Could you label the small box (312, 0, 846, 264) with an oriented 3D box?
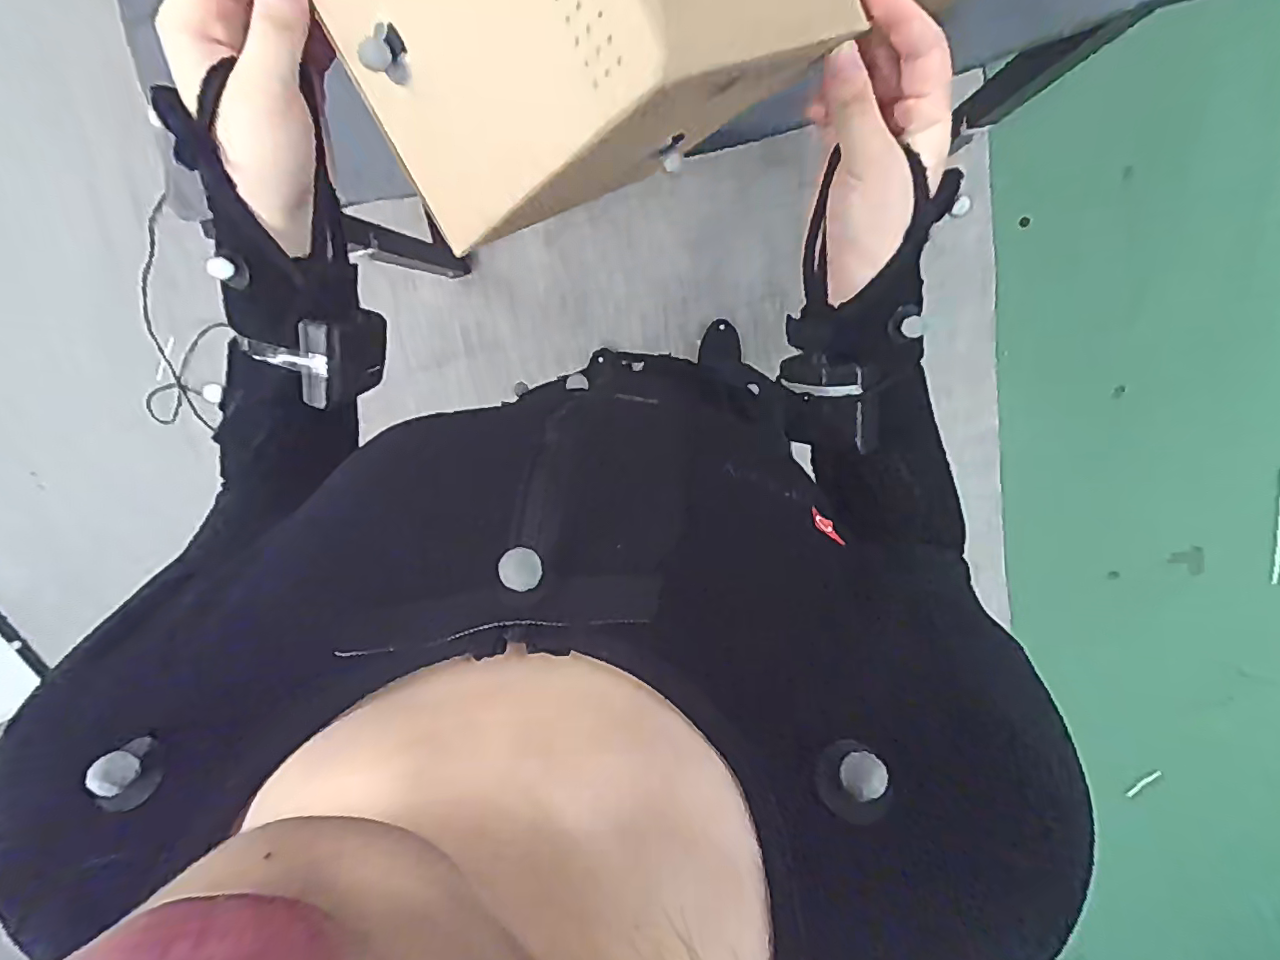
[{"bbox_3d":[-0.028,-0.232,0.242,0.176,0.168,0.179,1,126,49],"label":"small box"}]
